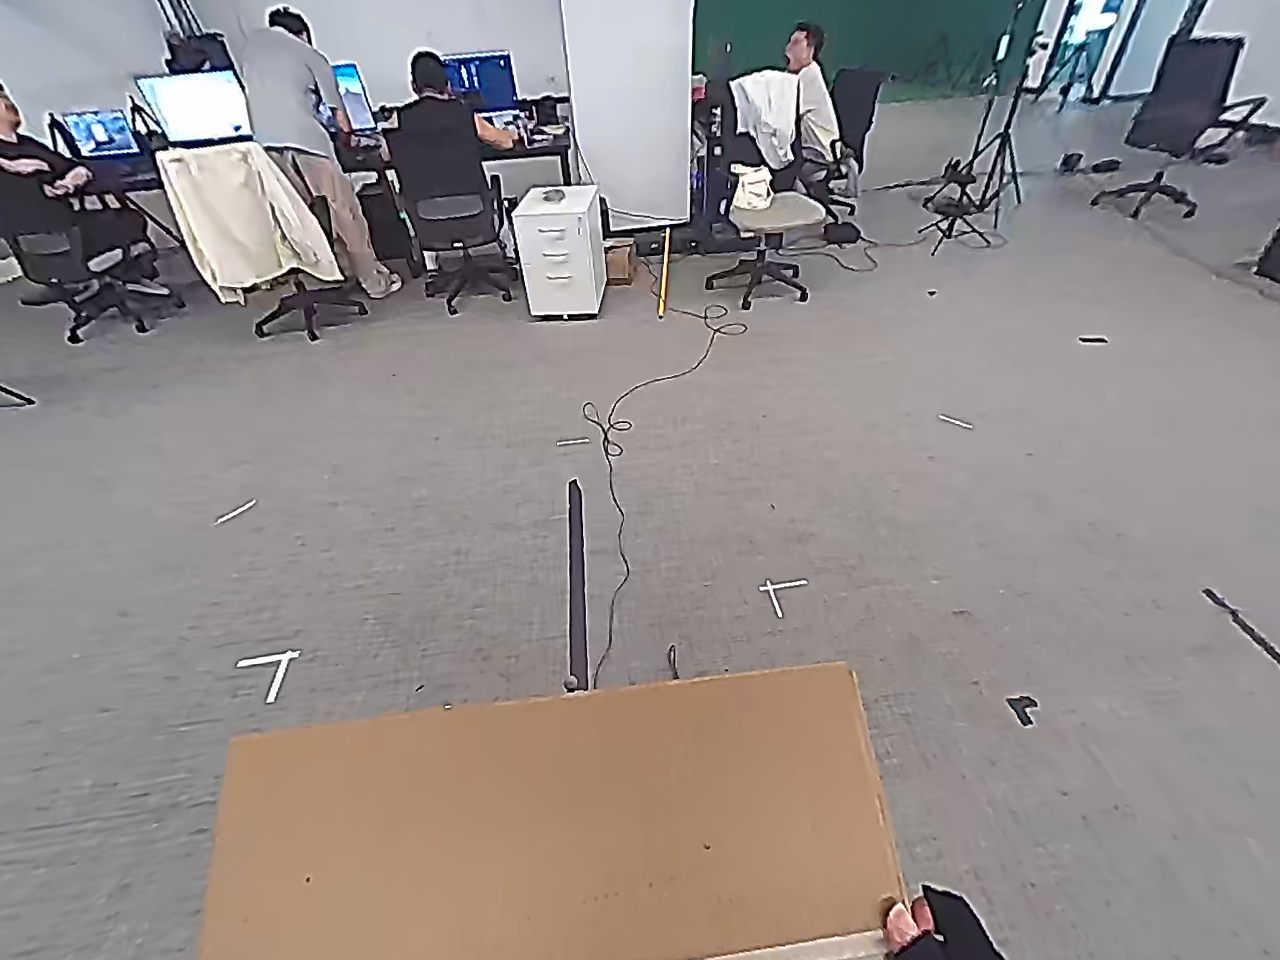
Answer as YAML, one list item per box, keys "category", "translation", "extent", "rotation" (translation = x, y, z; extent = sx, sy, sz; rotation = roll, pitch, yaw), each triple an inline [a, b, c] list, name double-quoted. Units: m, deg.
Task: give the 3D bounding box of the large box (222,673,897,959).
- category: "large box"
  translation: [-0.044, 0.352, 0.453]
  extent: [0.408, 0.320, 0.320]
  rotation: [-6, 69, -4]
